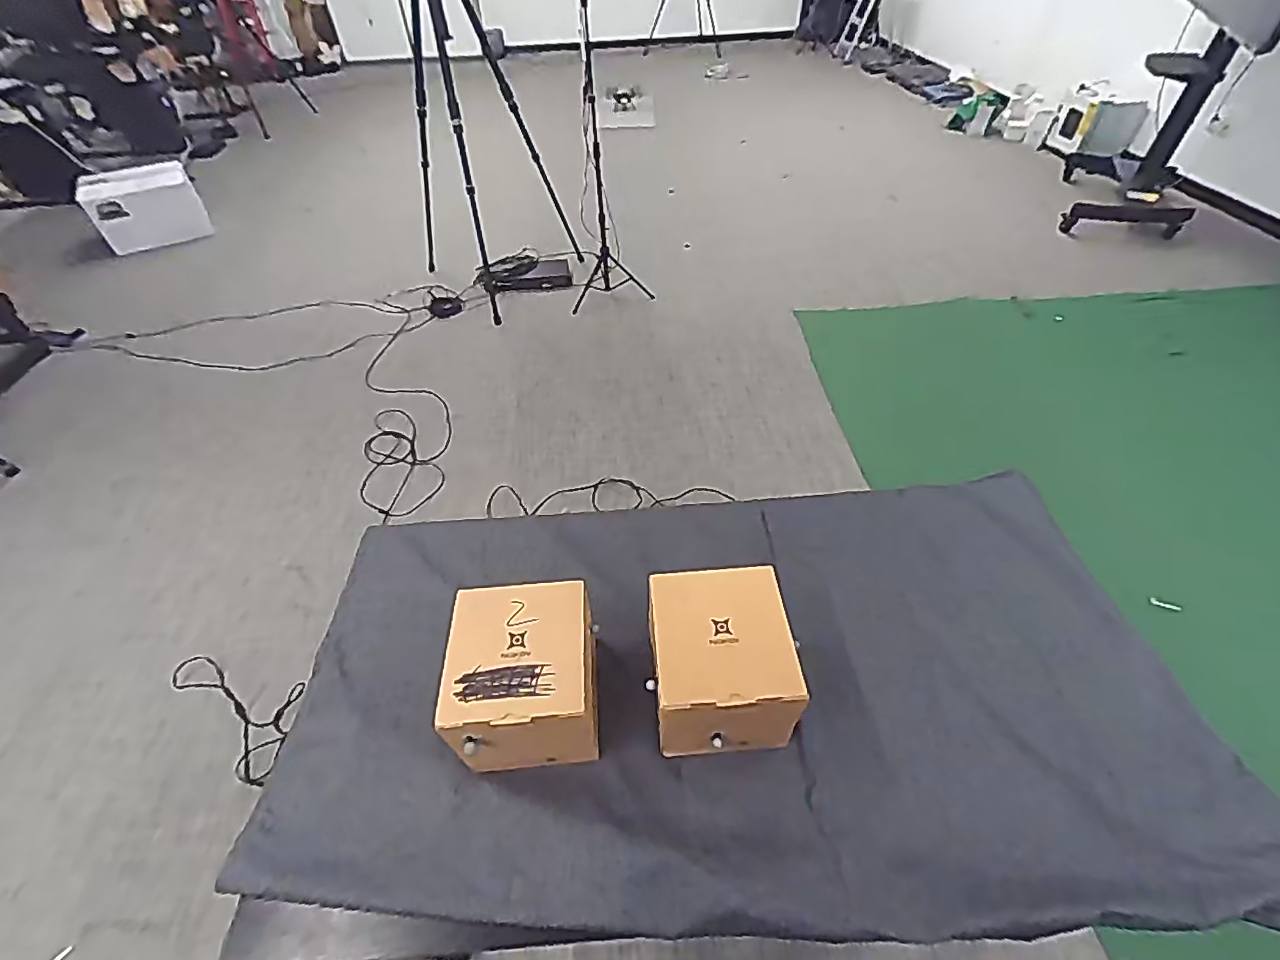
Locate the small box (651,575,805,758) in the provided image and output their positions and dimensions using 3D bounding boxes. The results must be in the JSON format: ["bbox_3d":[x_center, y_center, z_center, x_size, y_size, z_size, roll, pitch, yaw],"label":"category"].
[{"bbox_3d":[0.102,0.250,0.723,0.168,0.176,0.179,-4,48,-2],"label":"small box"}]
